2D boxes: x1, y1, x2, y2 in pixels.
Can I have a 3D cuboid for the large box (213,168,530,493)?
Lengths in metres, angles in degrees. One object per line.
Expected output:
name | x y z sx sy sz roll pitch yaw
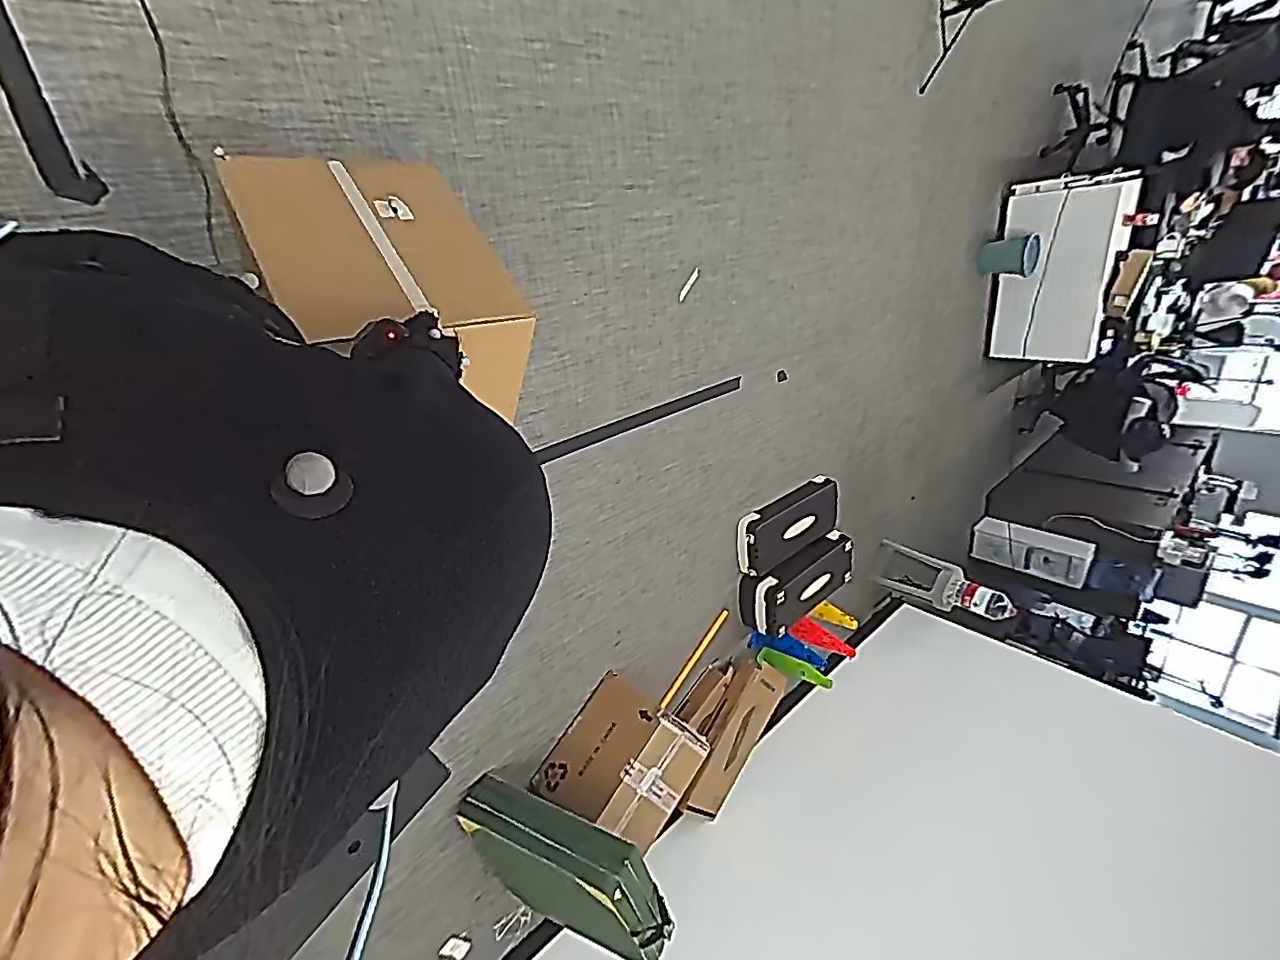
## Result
large box | -0.433 -0.253 0.901 0.320 0.408 0.320 -20 153 -35
